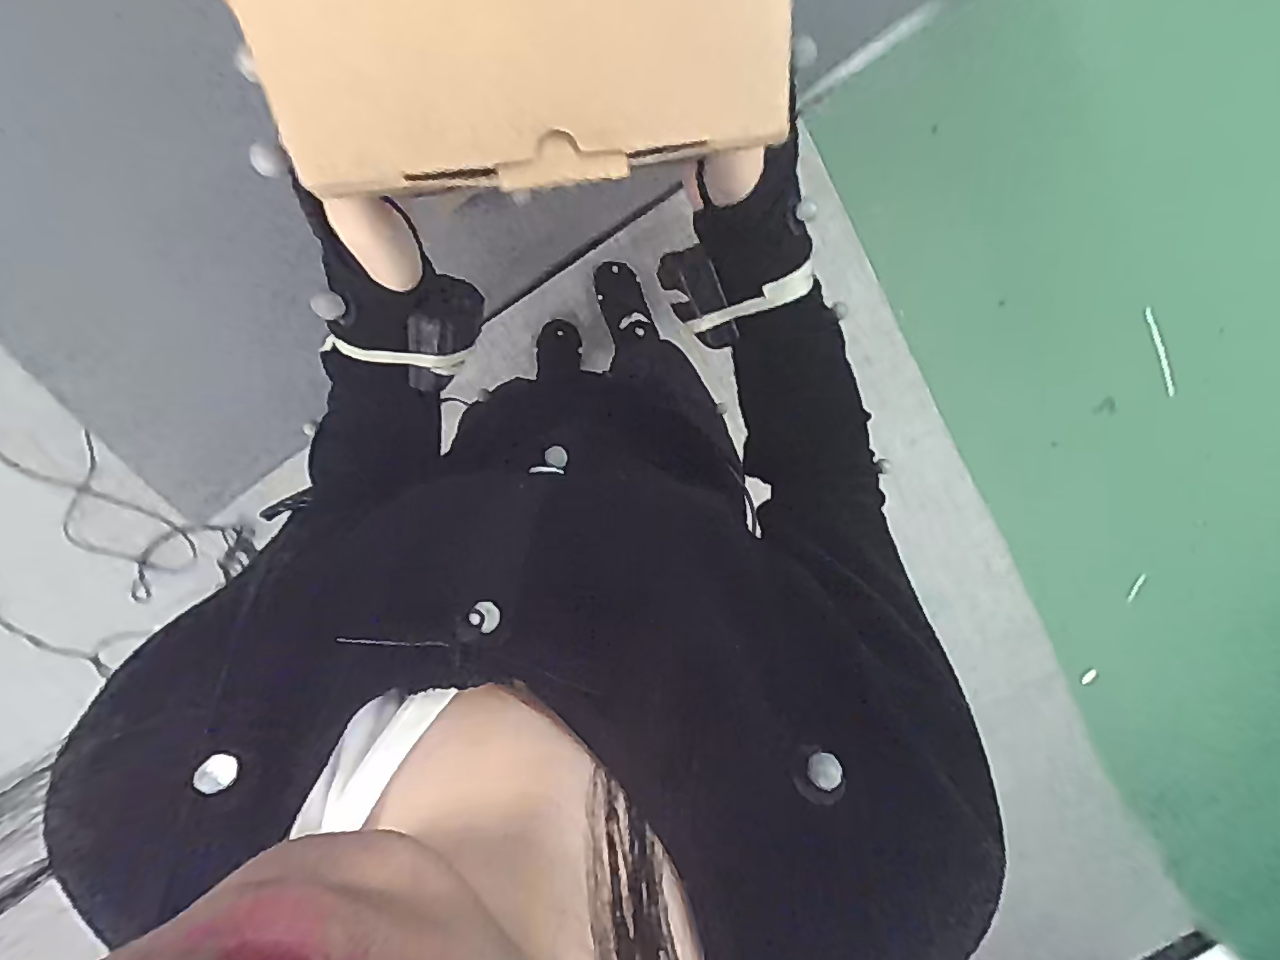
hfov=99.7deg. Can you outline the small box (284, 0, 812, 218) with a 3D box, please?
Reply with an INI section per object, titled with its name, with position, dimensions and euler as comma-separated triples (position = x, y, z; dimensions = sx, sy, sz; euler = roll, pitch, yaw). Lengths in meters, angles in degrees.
[small box]
position = -0.042, -0.213, 0.222
dimensions = 0.168, 0.176, 0.179
euler = -10, 120, -8
